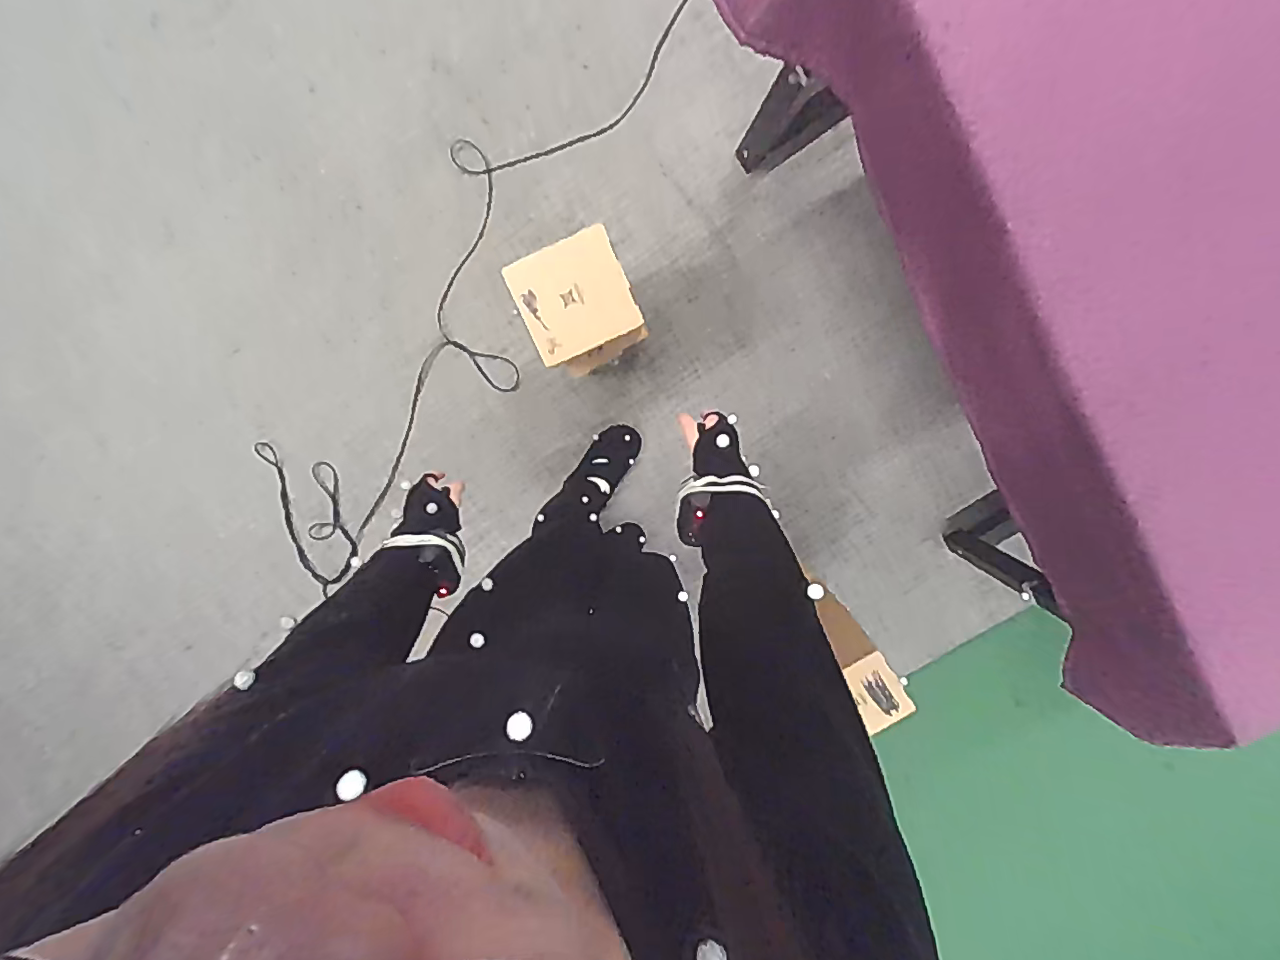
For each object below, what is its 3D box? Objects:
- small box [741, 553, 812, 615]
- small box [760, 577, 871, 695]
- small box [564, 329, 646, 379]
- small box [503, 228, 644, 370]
[{"bbox_3d":[0.391,0.315,1.436,0.168,0.176,0.179,-35,103,7],"label":"small box"},{"bbox_3d":[0.403,0.362,1.280,0.179,0.176,0.168,-32,105,6],"label":"small box"},{"bbox_3d":[-0.103,-0.321,1.086,0.168,0.176,0.179,-30,104,6],"label":"small box"},{"bbox_3d":[-0.108,-0.300,0.922,0.179,0.176,0.168,-23,103,3],"label":"small box"}]
